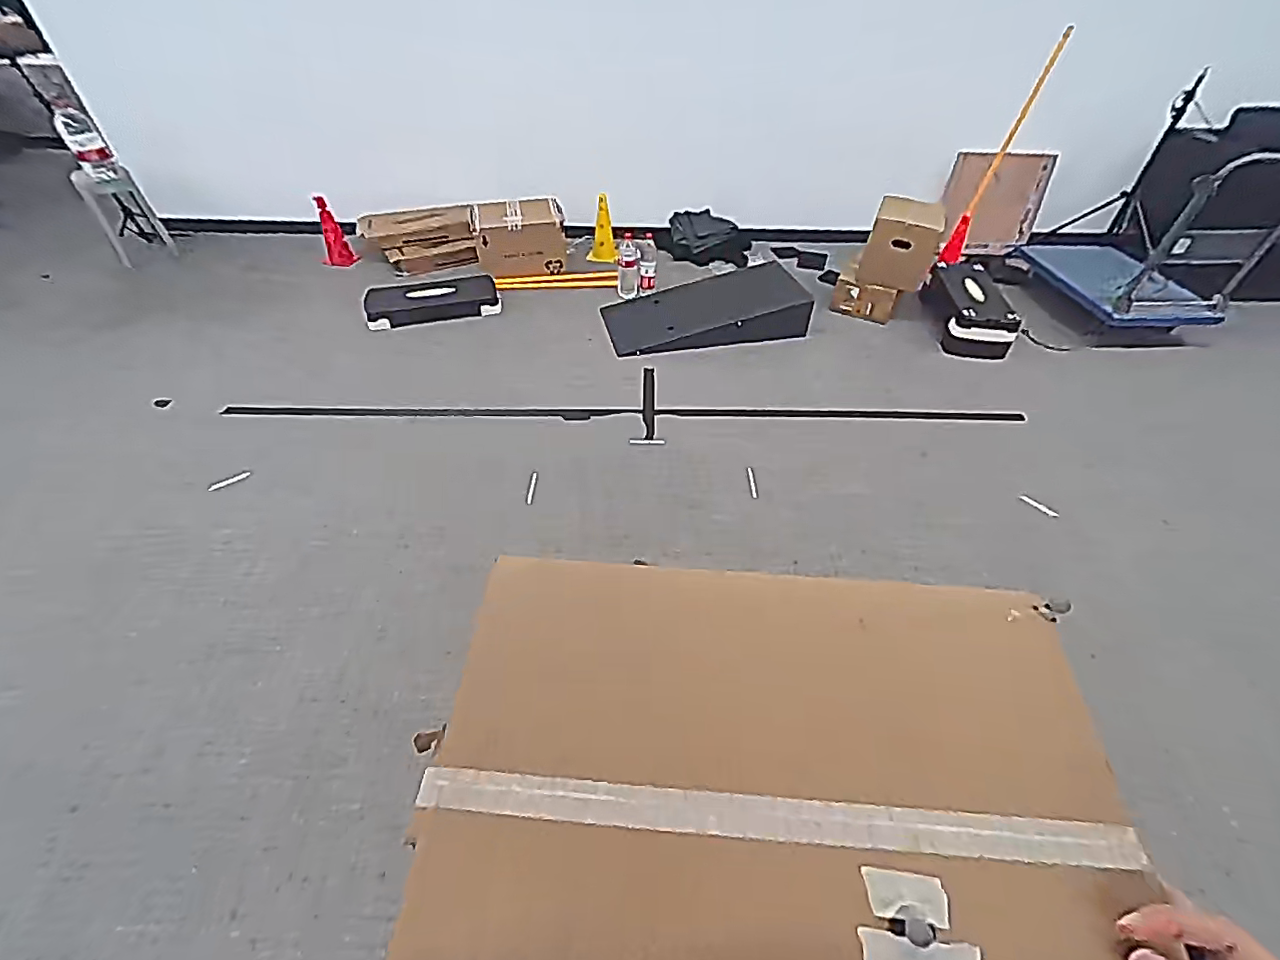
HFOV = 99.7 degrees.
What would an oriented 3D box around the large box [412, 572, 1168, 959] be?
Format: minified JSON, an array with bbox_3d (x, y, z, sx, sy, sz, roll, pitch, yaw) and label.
[{"bbox_3d":[0.080,0.292,0.440,0.408,0.320,0.320,3,54,2],"label":"large box"}]
